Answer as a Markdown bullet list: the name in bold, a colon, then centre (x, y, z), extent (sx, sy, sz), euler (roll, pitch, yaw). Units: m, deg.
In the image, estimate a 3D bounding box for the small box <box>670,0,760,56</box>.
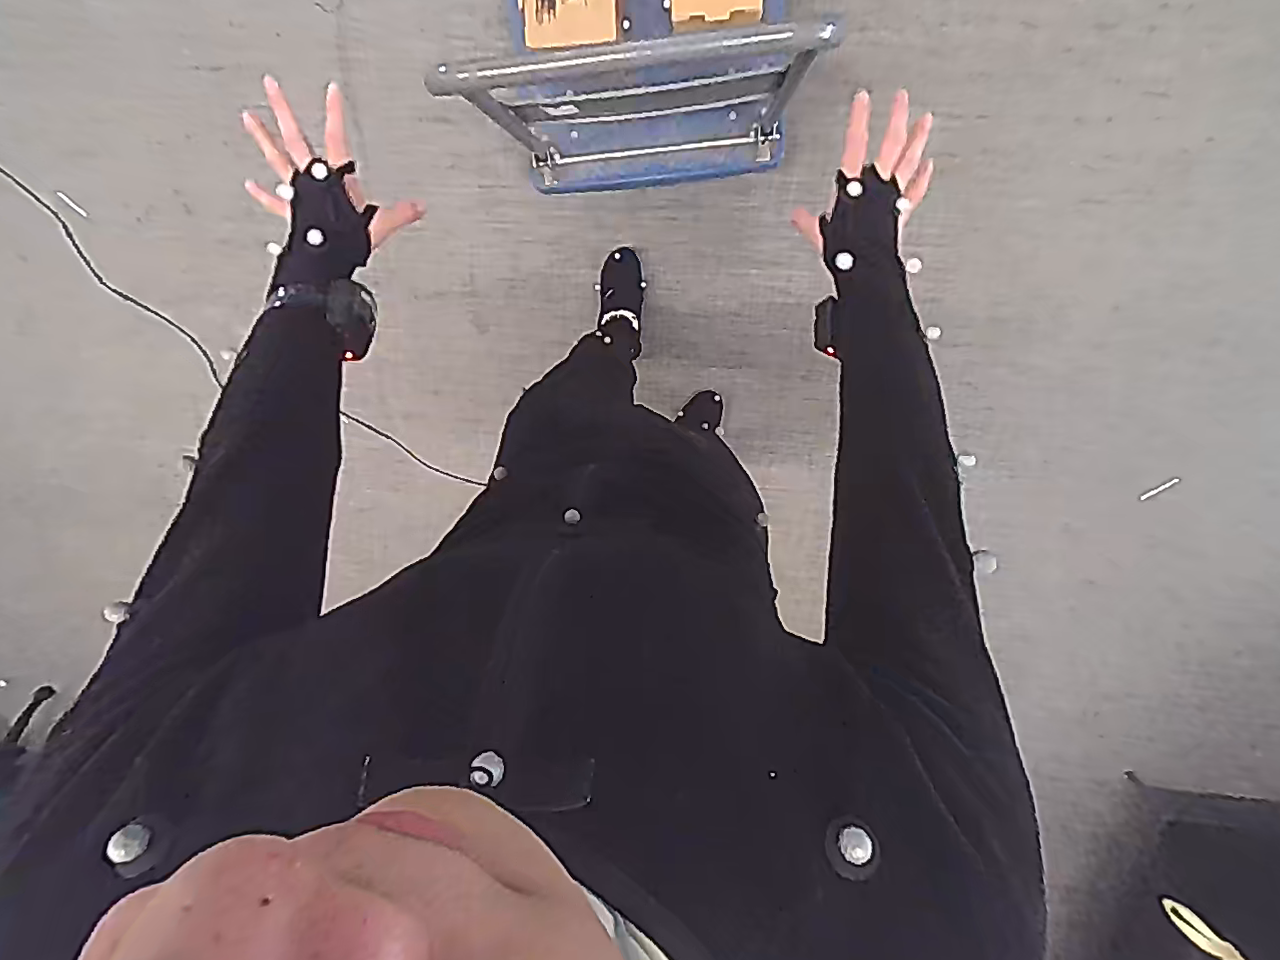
- **small box**: centre (0.139, -0.967, 1.047), extent (0.168, 0.176, 0.179), euler (-2, 109, 6)
